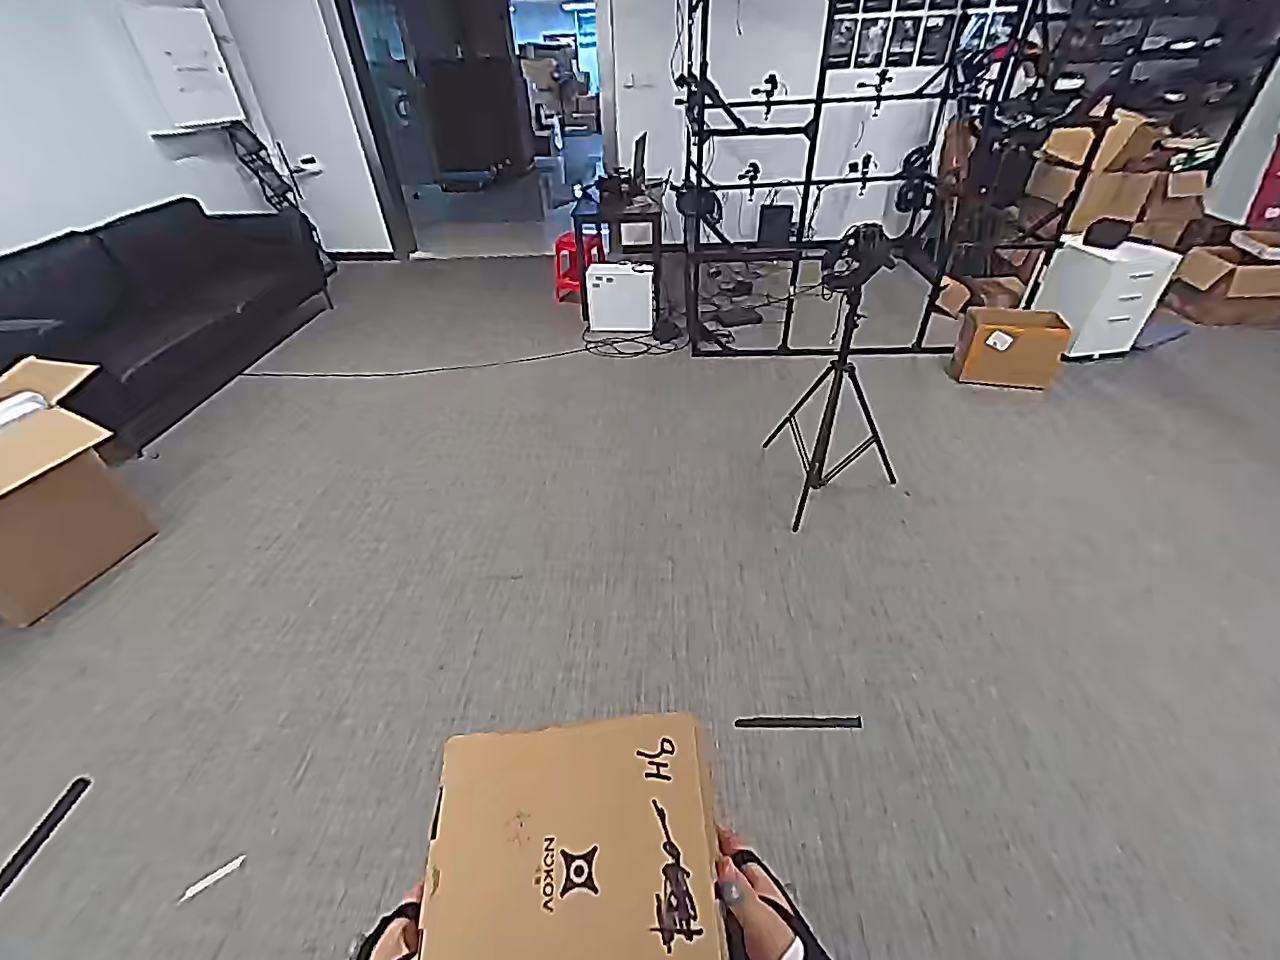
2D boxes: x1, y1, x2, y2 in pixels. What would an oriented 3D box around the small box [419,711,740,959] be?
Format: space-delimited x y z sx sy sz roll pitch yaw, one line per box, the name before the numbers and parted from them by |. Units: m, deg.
small box | -0.029 0.275 0.381 0.179 0.176 0.168 -9 55 5
